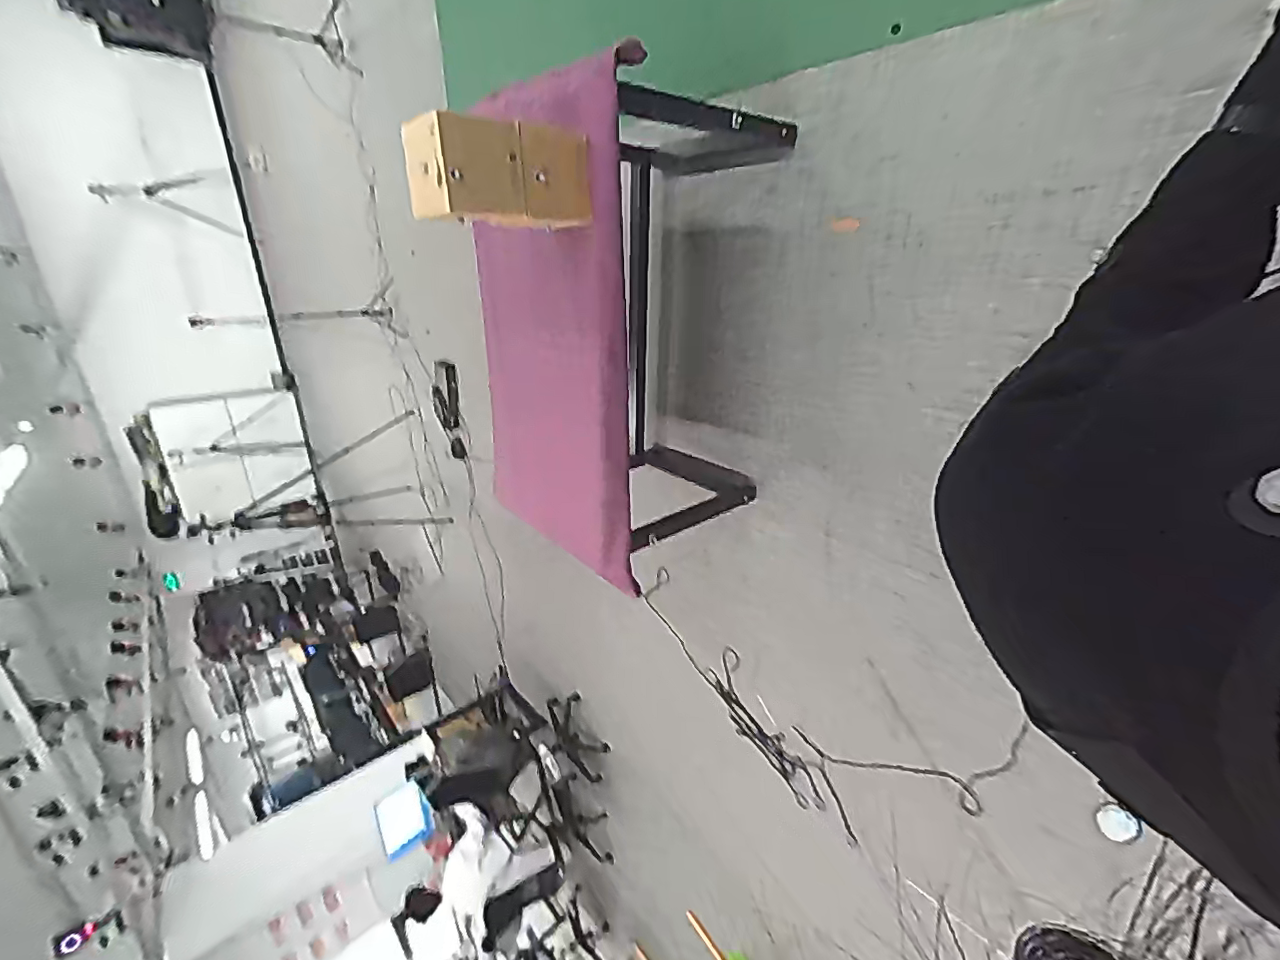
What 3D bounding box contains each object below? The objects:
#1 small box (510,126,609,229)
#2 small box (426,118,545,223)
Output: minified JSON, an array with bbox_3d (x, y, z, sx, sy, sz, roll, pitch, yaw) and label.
[{"bbox_3d":[-0.185,-0.659,1.198,0.168,0.176,0.179,22,123,46],"label":"small box"},{"bbox_3d":[-0.312,-0.619,1.102,0.179,0.176,0.168,23,124,46],"label":"small box"}]
